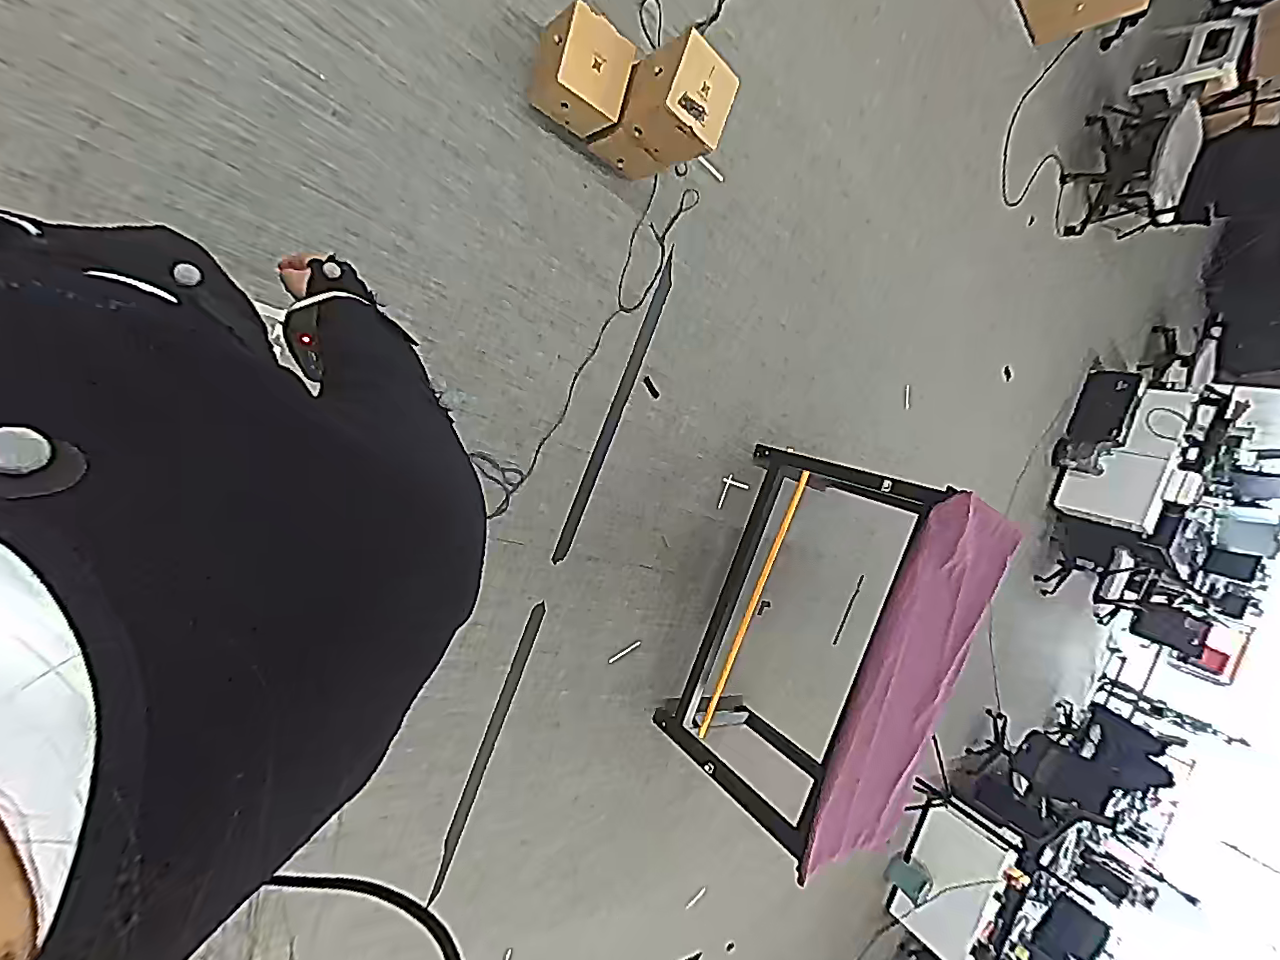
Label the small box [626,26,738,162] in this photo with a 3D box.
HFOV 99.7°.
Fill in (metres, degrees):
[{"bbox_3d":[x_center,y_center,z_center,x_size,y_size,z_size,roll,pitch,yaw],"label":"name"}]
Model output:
[{"bbox_3d":[0.090,-0.875,1.251,0.168,0.176,0.179,19,92,-40],"label":"small box"}]
